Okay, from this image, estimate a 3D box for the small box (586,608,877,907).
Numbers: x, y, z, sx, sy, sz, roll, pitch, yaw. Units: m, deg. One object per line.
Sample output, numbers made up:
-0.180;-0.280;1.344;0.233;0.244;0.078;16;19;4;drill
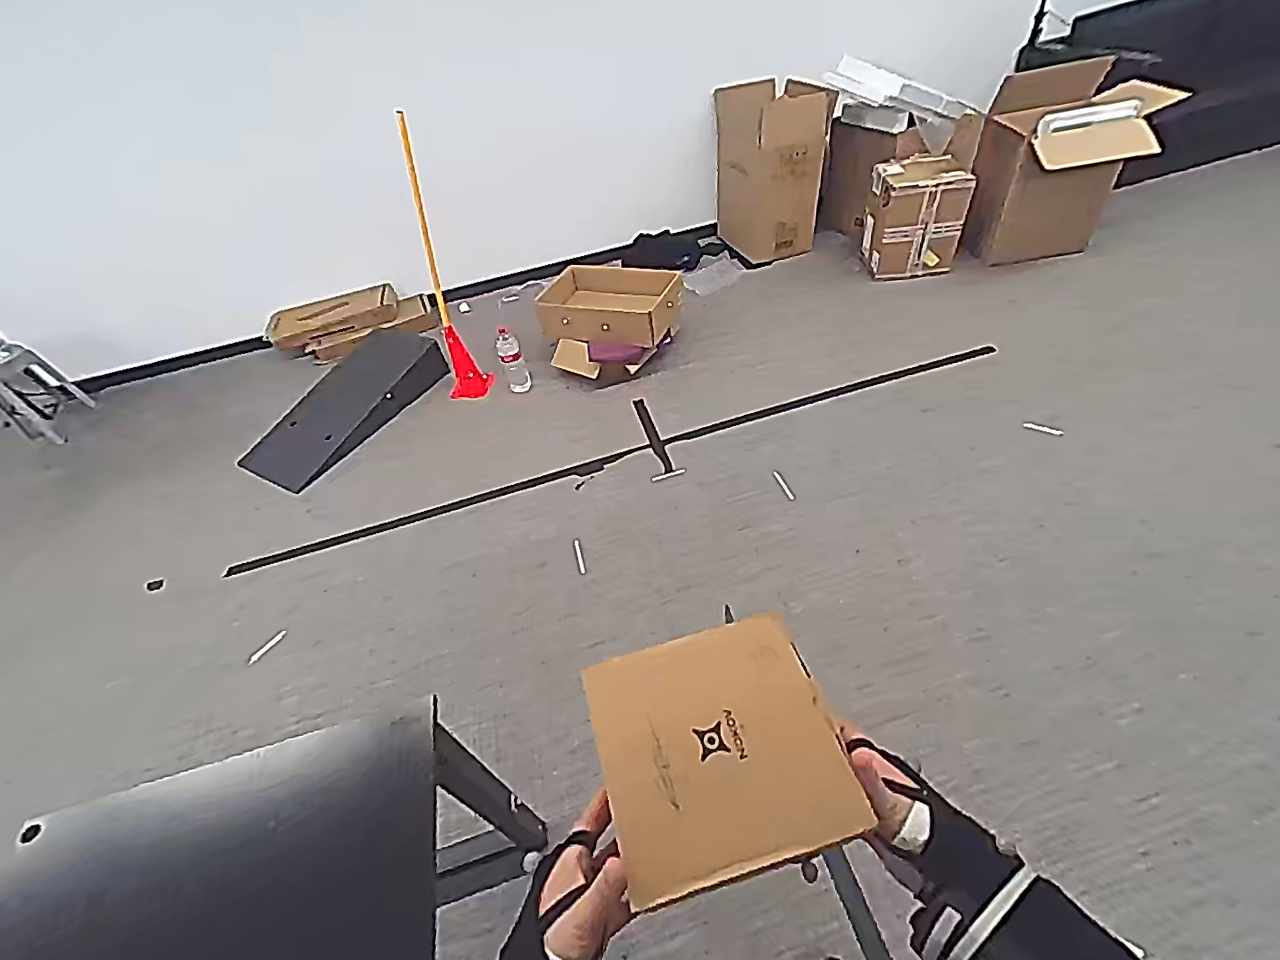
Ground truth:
0.066;0.241;0.467;0.179;0.176;0.168;-17;50;-5;small box
